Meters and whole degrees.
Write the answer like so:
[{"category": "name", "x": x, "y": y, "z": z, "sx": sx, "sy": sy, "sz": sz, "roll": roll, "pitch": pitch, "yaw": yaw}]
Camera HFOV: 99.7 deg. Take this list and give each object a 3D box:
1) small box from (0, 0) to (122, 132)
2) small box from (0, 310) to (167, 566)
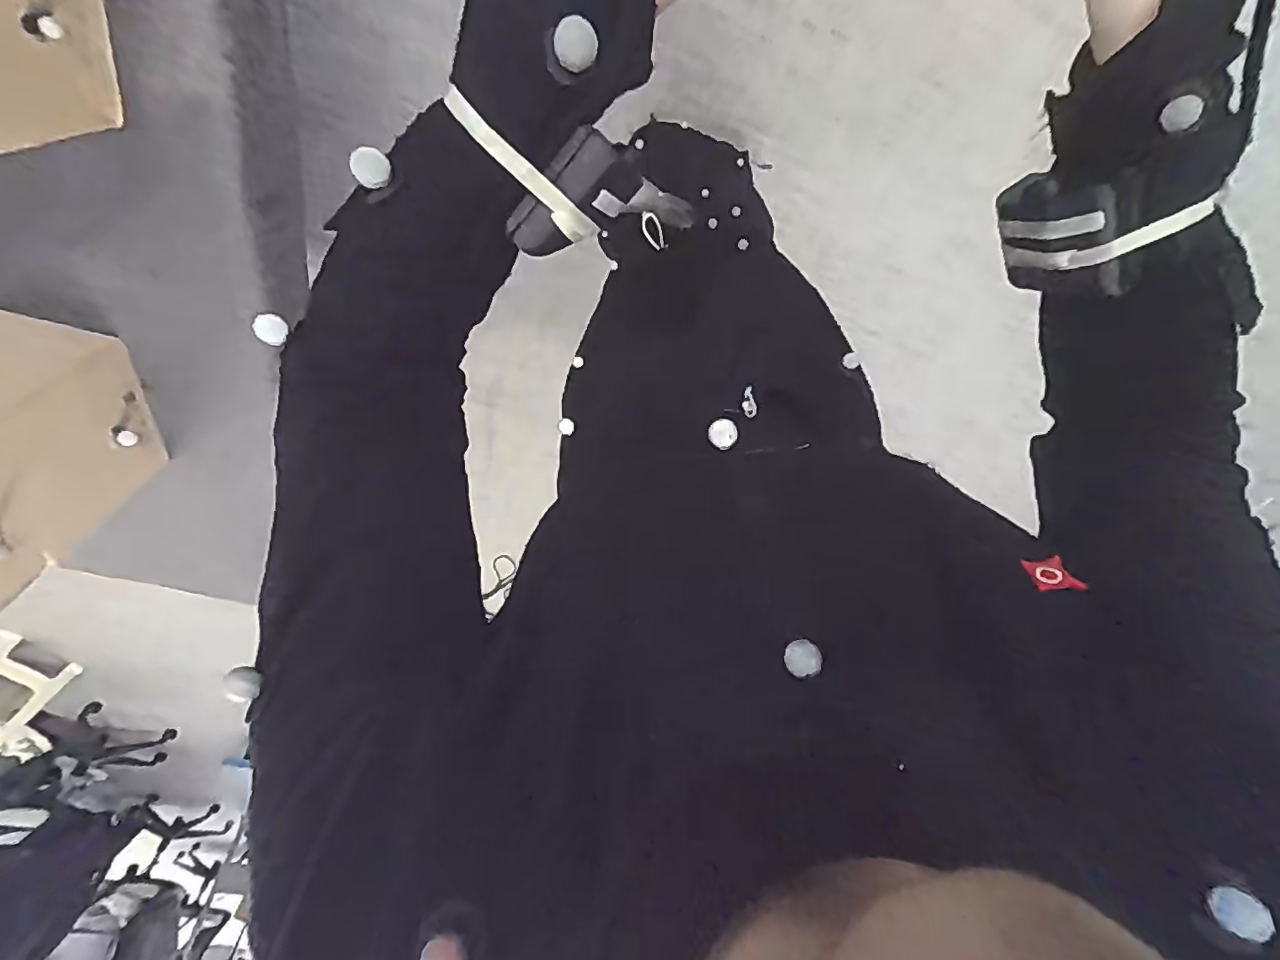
[{"category": "small box", "x": -0.445, "y": -0.303, "z": 0.285, "sx": 0.179, "sy": 0.176, "sz": 0.168, "roll": 18, "pitch": 129, "yaw": -14}, {"category": "small box", "x": -0.614, "y": -0.048, "z": 0.510, "sx": 0.179, "sy": 0.176, "sz": 0.168, "roll": 12, "pitch": 130, "yaw": -10}]
